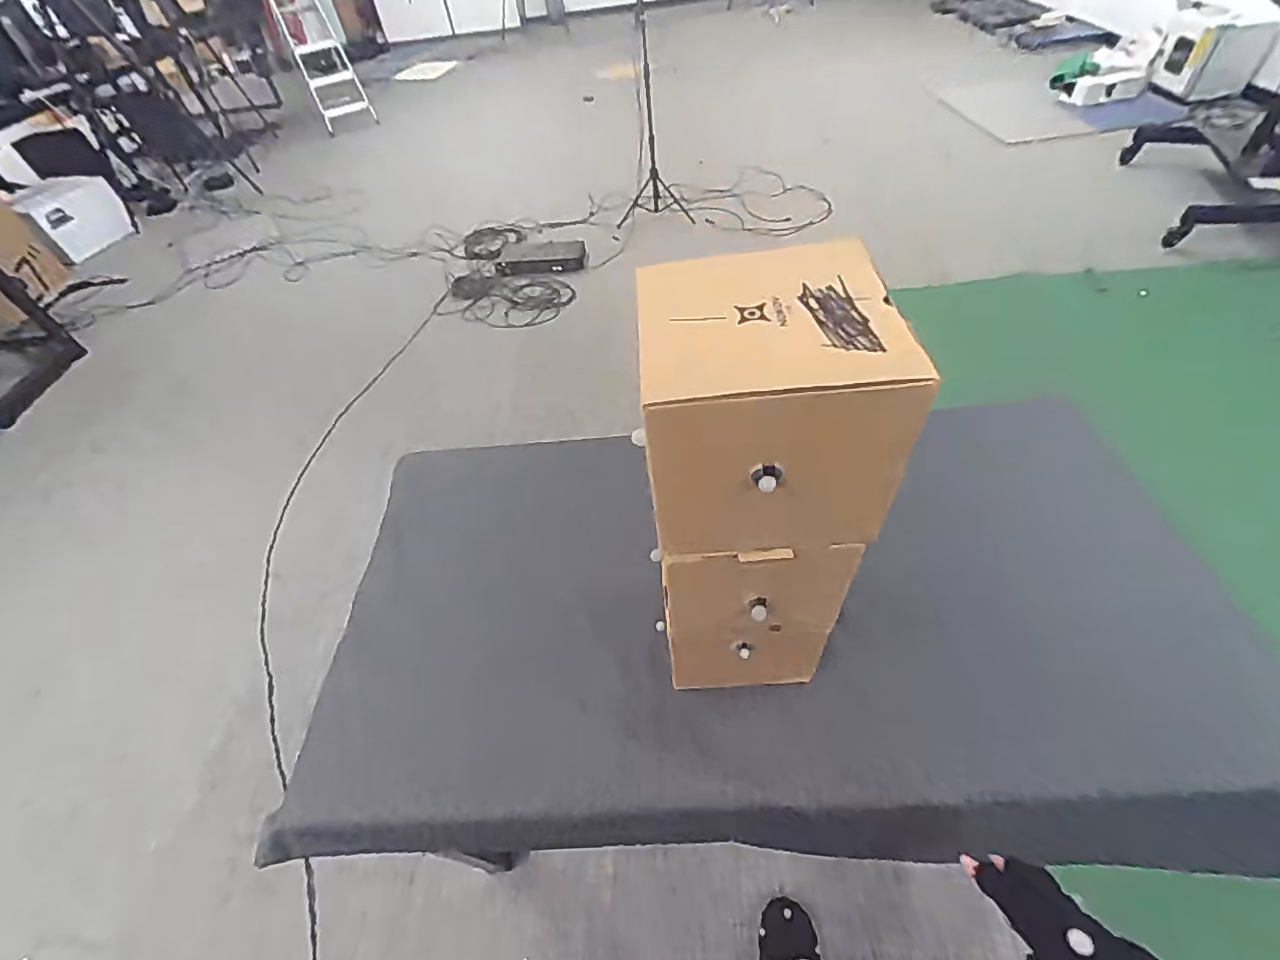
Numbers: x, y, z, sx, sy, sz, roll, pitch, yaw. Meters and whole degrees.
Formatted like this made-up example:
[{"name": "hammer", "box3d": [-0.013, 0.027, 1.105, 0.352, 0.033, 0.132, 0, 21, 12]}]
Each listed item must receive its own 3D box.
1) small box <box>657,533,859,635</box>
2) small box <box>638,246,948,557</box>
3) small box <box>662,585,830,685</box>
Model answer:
[{"name": "small box", "box3d": [0.104, 0.047, 0.551, 0.168, 0.176, 0.179, -5, 51, 3]}, {"name": "small box", "box3d": [0.093, -0.056, 0.423, 0.179, 0.176, 0.168, -6, 50, 1]}, {"name": "small box", "box3d": [0.119, 0.148, 0.679, 0.179, 0.176, 0.168, -4, 50, 2]}]
